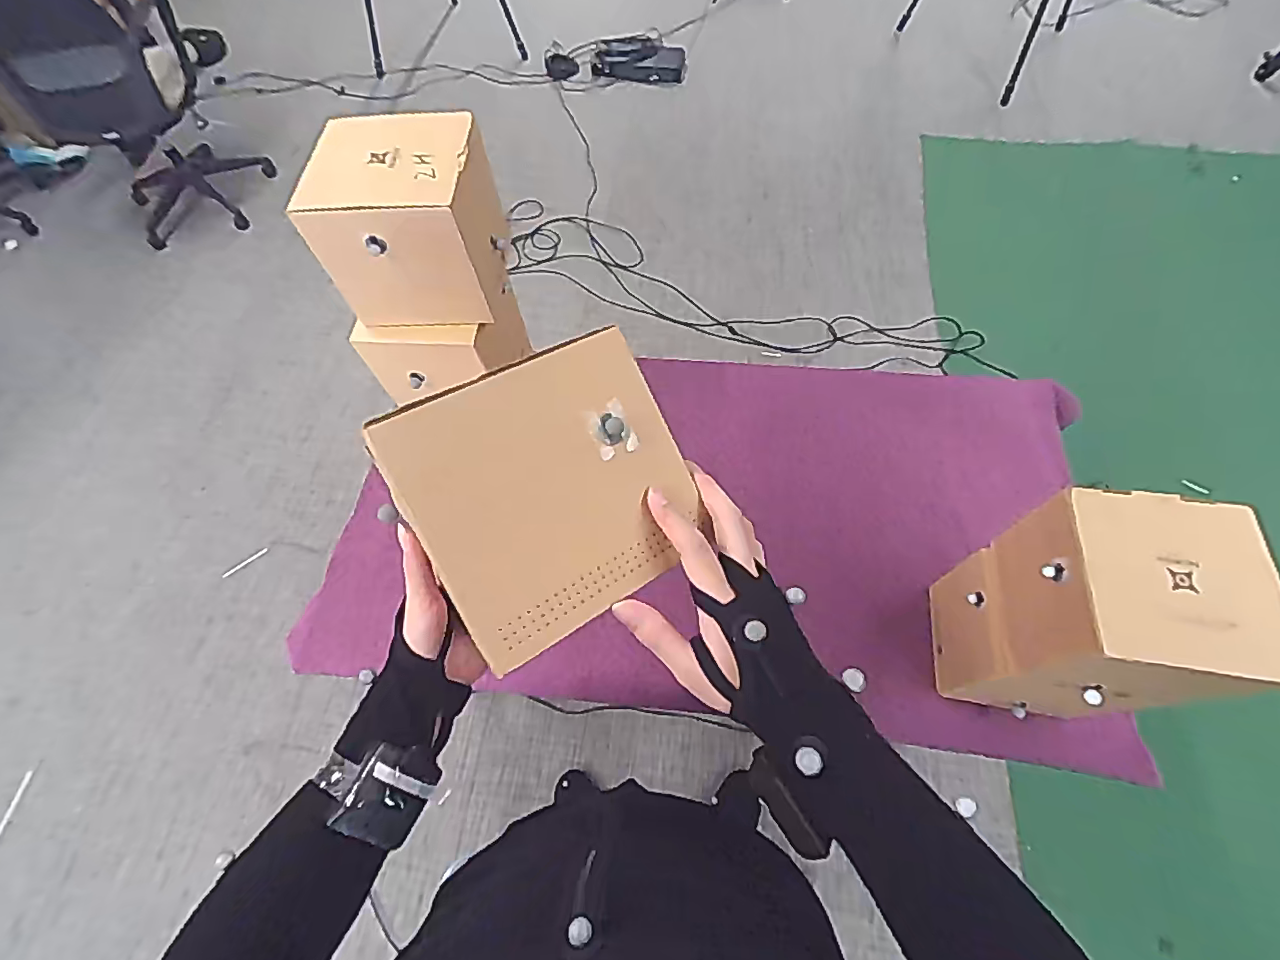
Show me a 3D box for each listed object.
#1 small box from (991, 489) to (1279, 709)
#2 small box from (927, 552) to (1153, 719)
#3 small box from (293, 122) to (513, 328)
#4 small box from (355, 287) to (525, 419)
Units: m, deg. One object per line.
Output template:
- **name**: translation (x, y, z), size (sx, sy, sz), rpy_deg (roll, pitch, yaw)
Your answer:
- **small box**: translation (0.508, 0.133, 0.582), size (0.168, 0.176, 0.179), rpy_deg (8, 63, 9)
- **small box**: translation (0.512, 0.215, 0.724), size (0.179, 0.176, 0.168), rpy_deg (9, 62, 7)
- **small box**: translation (-0.270, -0.304, 0.663), size (0.179, 0.176, 0.168), rpy_deg (0, 62, 2)
- **small box**: translation (-0.278, -0.206, 0.798), size (0.168, 0.176, 0.179), rpy_deg (3, 62, 4)
